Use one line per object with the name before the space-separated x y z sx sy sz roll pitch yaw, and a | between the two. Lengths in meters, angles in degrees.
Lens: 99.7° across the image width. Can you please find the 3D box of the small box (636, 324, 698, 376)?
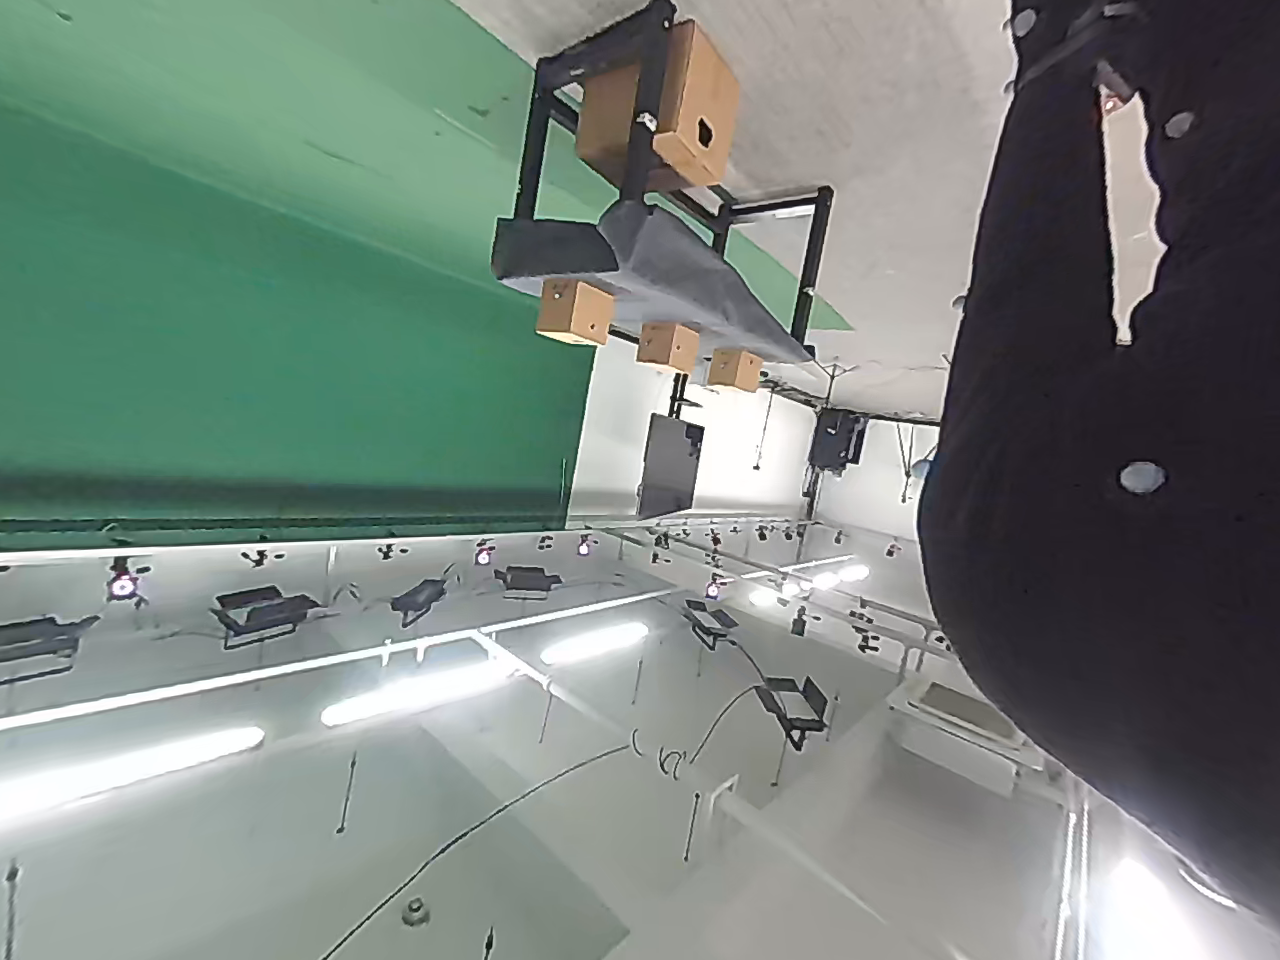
small box | 0.109 -0.525 2.173 0.168 0.176 0.179 16 -171 37

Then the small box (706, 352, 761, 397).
small box | 0.434 -0.490 2.499 0.179 0.176 0.168 8 -174 -44

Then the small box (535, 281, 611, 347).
small box | -0.218 -0.549 1.793 0.168 0.176 0.179 14 -174 36
